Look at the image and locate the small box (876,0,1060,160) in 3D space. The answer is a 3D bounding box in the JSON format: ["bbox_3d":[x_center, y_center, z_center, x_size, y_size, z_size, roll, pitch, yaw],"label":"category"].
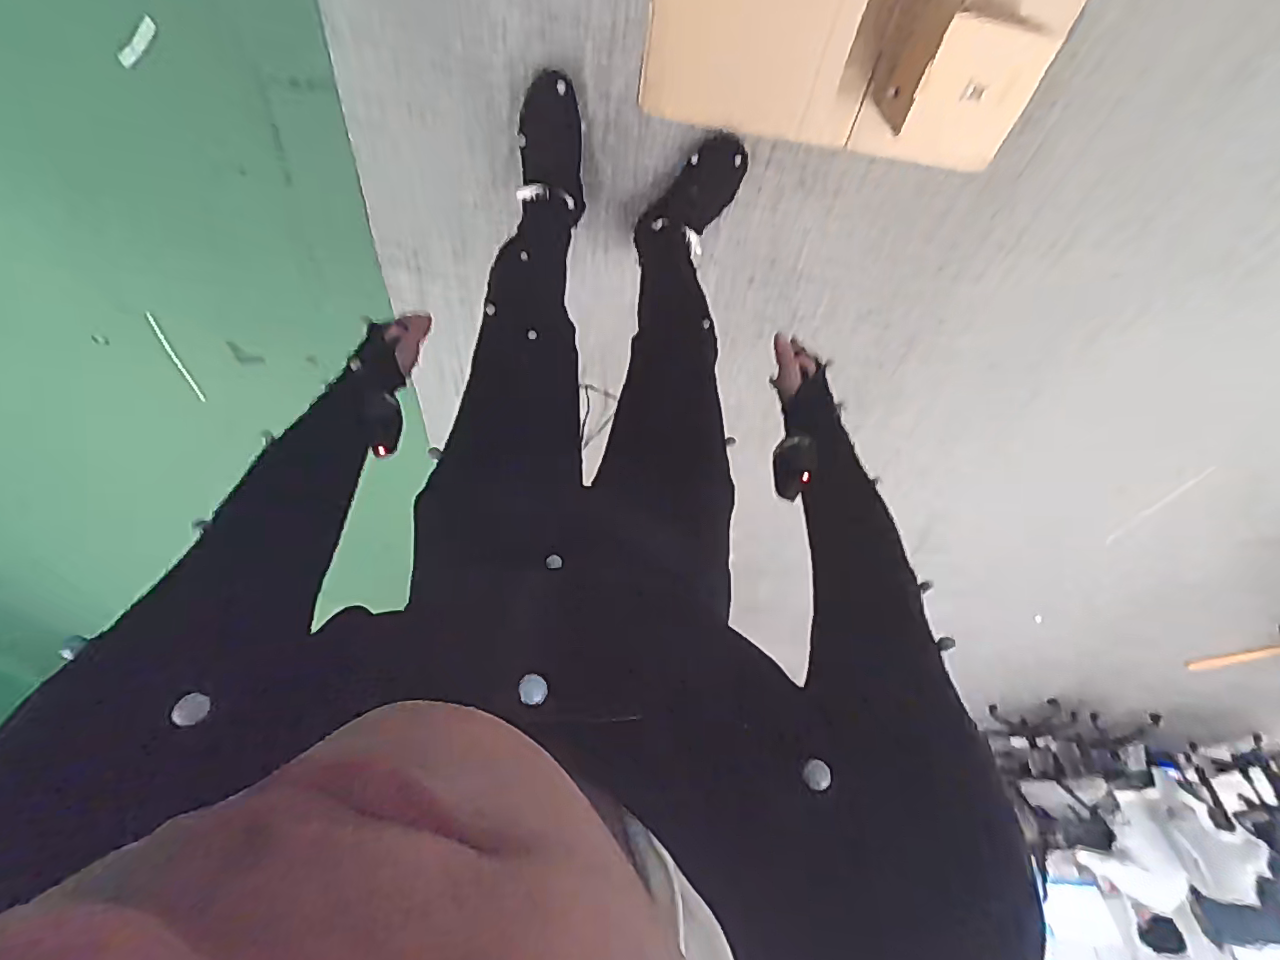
[{"bbox_3d":[0.519,-0.662,0.891,0.179,0.176,0.168,8,141,-6],"label":"small box"}]

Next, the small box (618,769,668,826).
[{"bbox_3d":[0.011,1.233,2.102,0.179,0.176,0.168,4,140,-3],"label":"small box"}]
